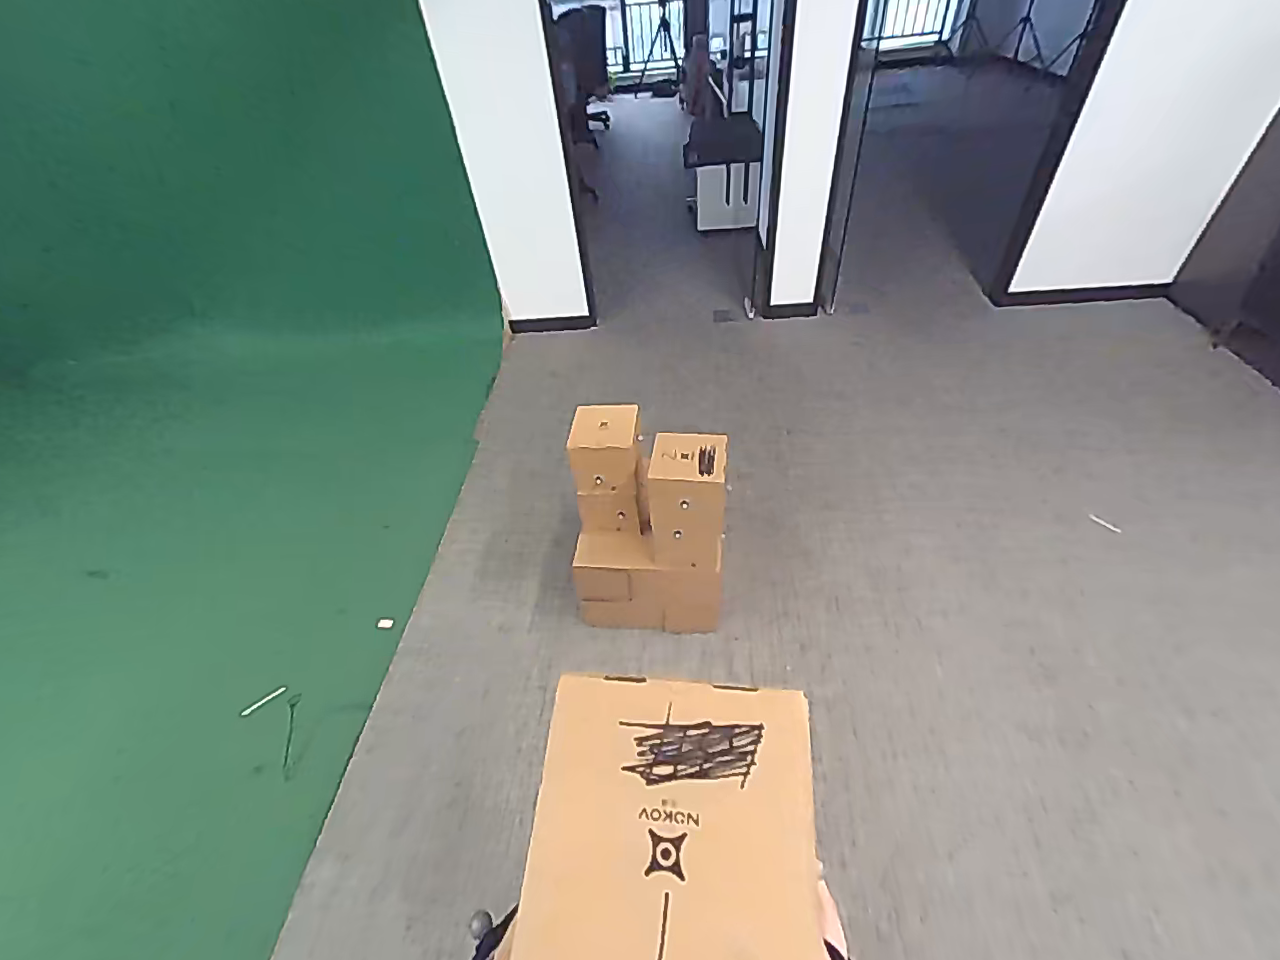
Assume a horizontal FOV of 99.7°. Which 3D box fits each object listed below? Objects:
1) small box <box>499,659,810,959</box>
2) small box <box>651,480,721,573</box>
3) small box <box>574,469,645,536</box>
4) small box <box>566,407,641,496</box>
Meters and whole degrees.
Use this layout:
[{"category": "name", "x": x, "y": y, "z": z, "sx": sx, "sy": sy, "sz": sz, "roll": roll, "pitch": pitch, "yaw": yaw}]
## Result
[{"category": "small box", "x": 0.023, "y": 0.245, "z": 0.385, "sx": 0.168, "sy": 0.176, "sz": 0.179, "roll": 2, "pitch": 57, "yaw": 10}, {"category": "small box", "x": 0.125, "y": 0.122, "z": 1.437, "sx": 0.168, "sy": 0.176, "sz": 0.179, "roll": 3, "pitch": 43, "yaw": 9}, {"category": "small box", "x": -0.080, "y": 0.045, "z": 1.547, "sx": 0.168, "sy": 0.176, "sz": 0.179, "roll": 1, "pitch": 42, "yaw": 8}, {"category": "small box", "x": -0.089, "y": -0.076, "z": 1.438, "sx": 0.168, "sy": 0.176, "sz": 0.179, "roll": 0, "pitch": 43, "yaw": 7}]
